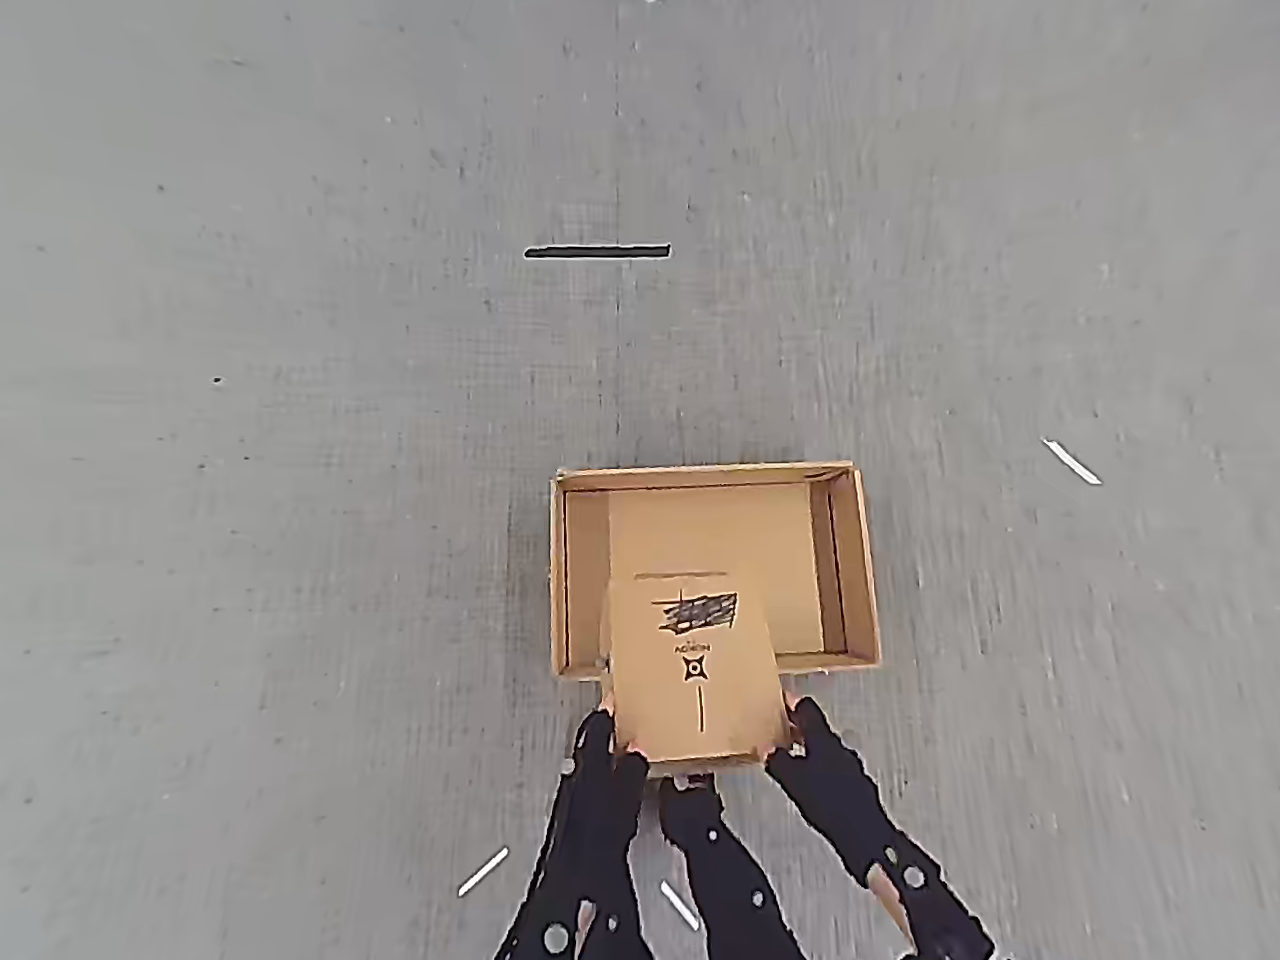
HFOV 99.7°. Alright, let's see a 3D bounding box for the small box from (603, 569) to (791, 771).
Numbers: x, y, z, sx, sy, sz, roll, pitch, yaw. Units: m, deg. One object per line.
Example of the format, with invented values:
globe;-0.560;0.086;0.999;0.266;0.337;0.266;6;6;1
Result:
small box;0.047;0.215;0.609;0.168;0.176;0.179;-1;57;-7
